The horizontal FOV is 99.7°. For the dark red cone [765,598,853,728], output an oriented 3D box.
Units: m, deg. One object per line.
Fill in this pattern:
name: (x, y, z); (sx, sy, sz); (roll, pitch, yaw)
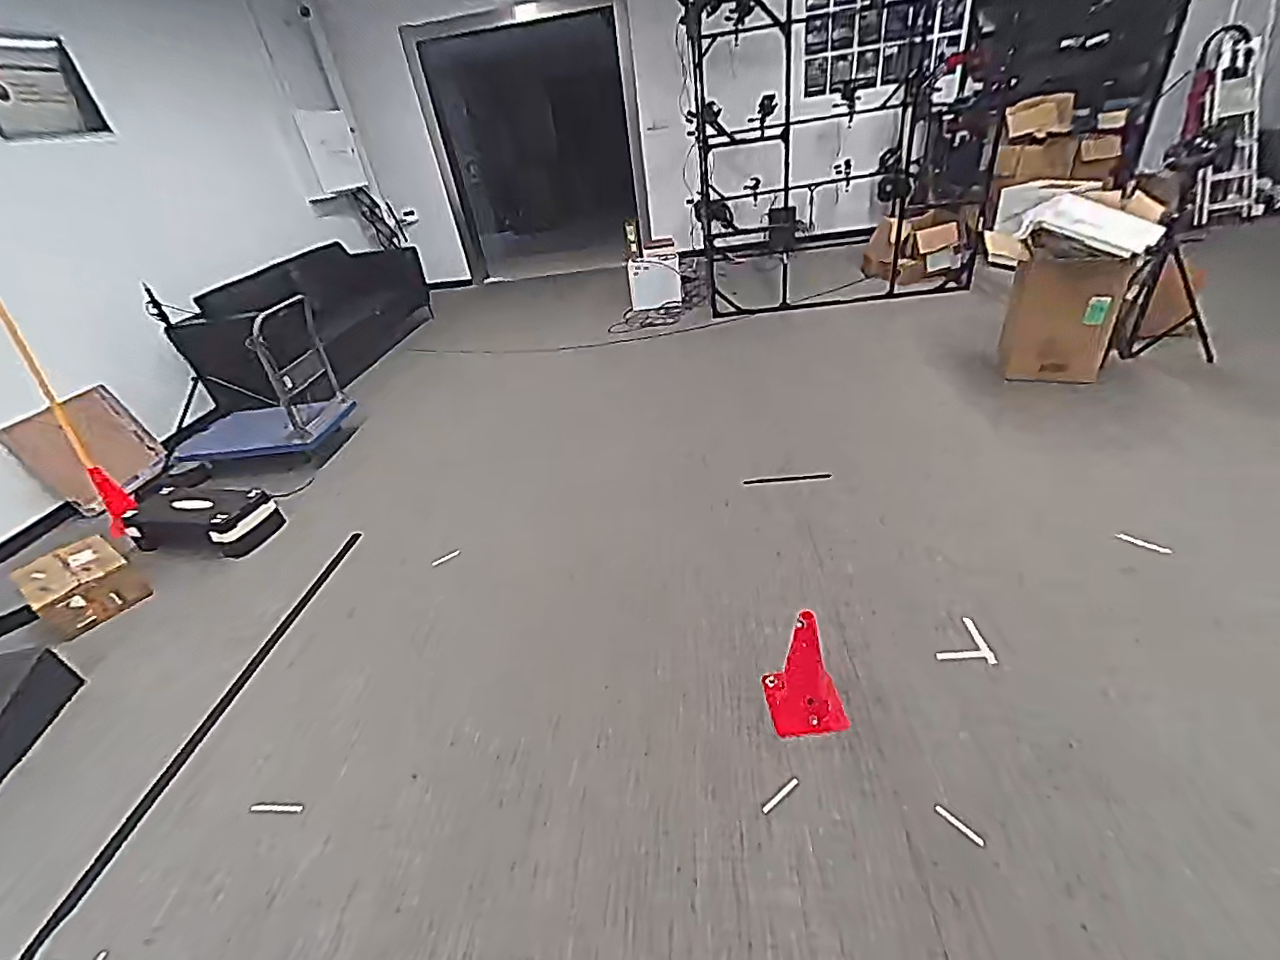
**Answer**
dark red cone: (0.441, 0.456, 1.411); (0.202, 0.394, 0.201); (-8, 34, 1)
